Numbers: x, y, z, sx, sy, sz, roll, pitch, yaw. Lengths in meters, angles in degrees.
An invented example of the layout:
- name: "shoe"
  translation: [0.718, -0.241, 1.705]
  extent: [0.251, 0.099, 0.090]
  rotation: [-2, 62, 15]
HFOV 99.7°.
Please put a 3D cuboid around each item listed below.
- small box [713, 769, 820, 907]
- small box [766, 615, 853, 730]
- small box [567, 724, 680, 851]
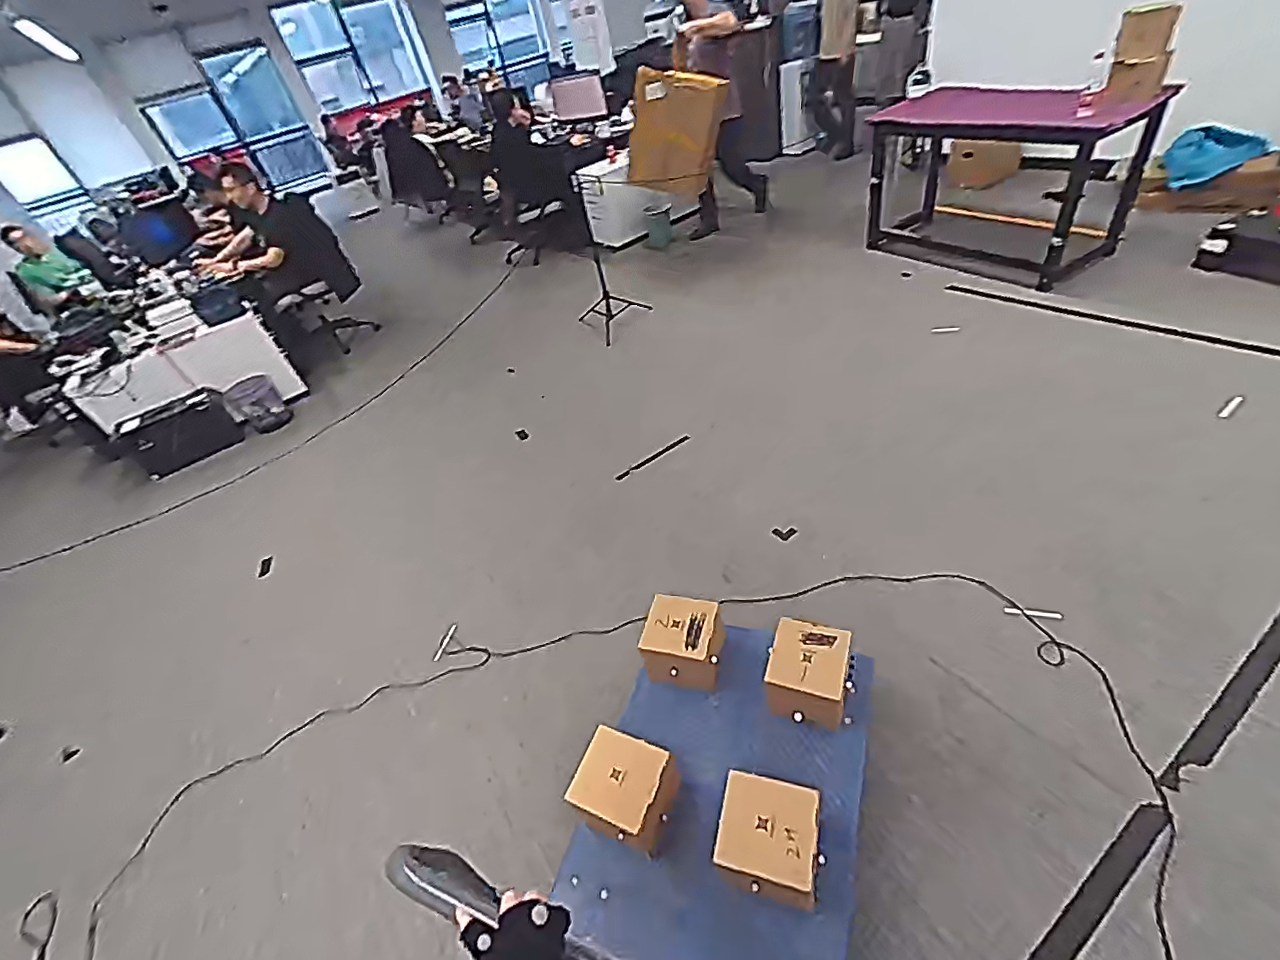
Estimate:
- name: "small box"
  translation: [0.254, 0.700, 1.058]
  extent: [0.179, 0.176, 0.168]
  rotation: [4, 44, 21]
- name: "small box"
  translation: [0.403, 0.456, 1.284]
  extent: [0.168, 0.176, 0.179]
  rotation: [8, 47, 25]
- name: "small box"
  translation: [-0.028, 0.673, 1.180]
  extent: [0.179, 0.176, 0.168]
  rotation: [10, 46, 25]
